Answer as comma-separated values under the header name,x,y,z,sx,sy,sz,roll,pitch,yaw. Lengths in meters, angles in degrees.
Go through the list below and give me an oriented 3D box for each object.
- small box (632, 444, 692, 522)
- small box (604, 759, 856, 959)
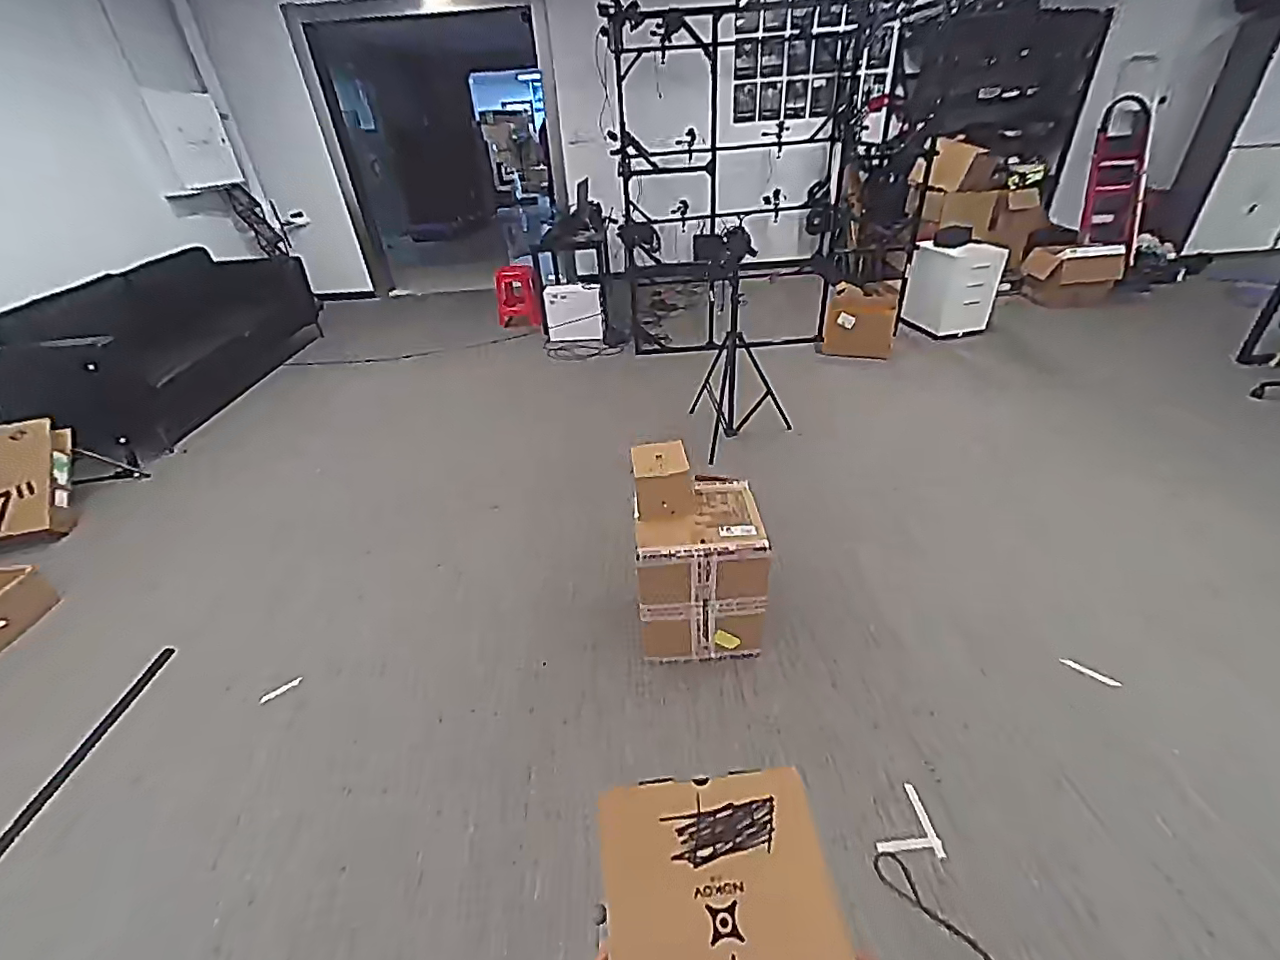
name,x,y,z,sx,sy,sz,roll,pitch,yaw
small box,0.067,0.009,1.688,0.168,0.176,0.179,-8,37,-1
small box,0.057,0.355,0.436,0.168,0.176,0.179,-4,42,-5
